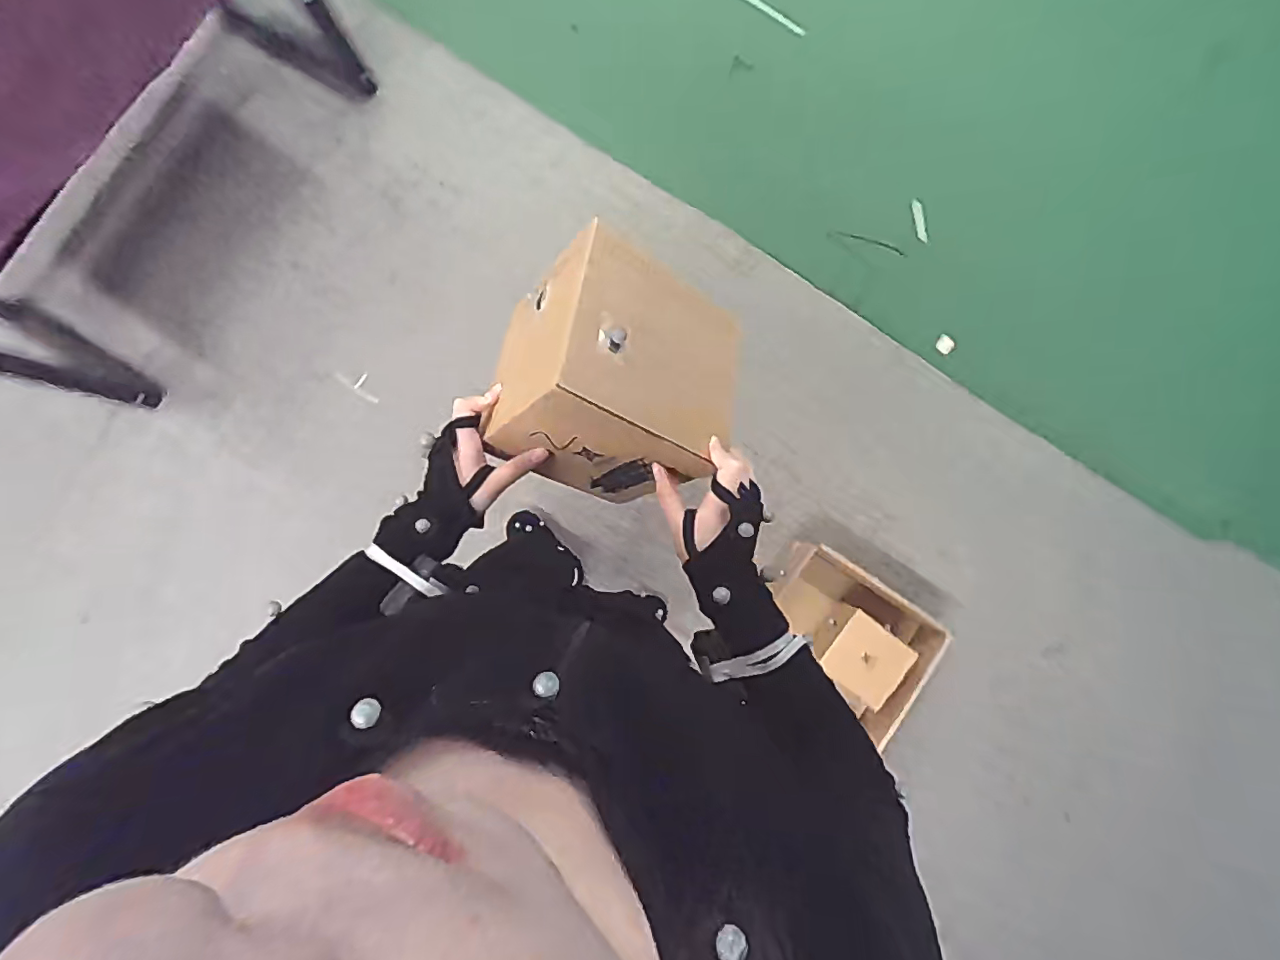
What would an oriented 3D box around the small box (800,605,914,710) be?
[{"bbox_3d":[0.529,0.431,1.350,0.179,0.176,0.168,39,88,3],"label":"small box"}]
